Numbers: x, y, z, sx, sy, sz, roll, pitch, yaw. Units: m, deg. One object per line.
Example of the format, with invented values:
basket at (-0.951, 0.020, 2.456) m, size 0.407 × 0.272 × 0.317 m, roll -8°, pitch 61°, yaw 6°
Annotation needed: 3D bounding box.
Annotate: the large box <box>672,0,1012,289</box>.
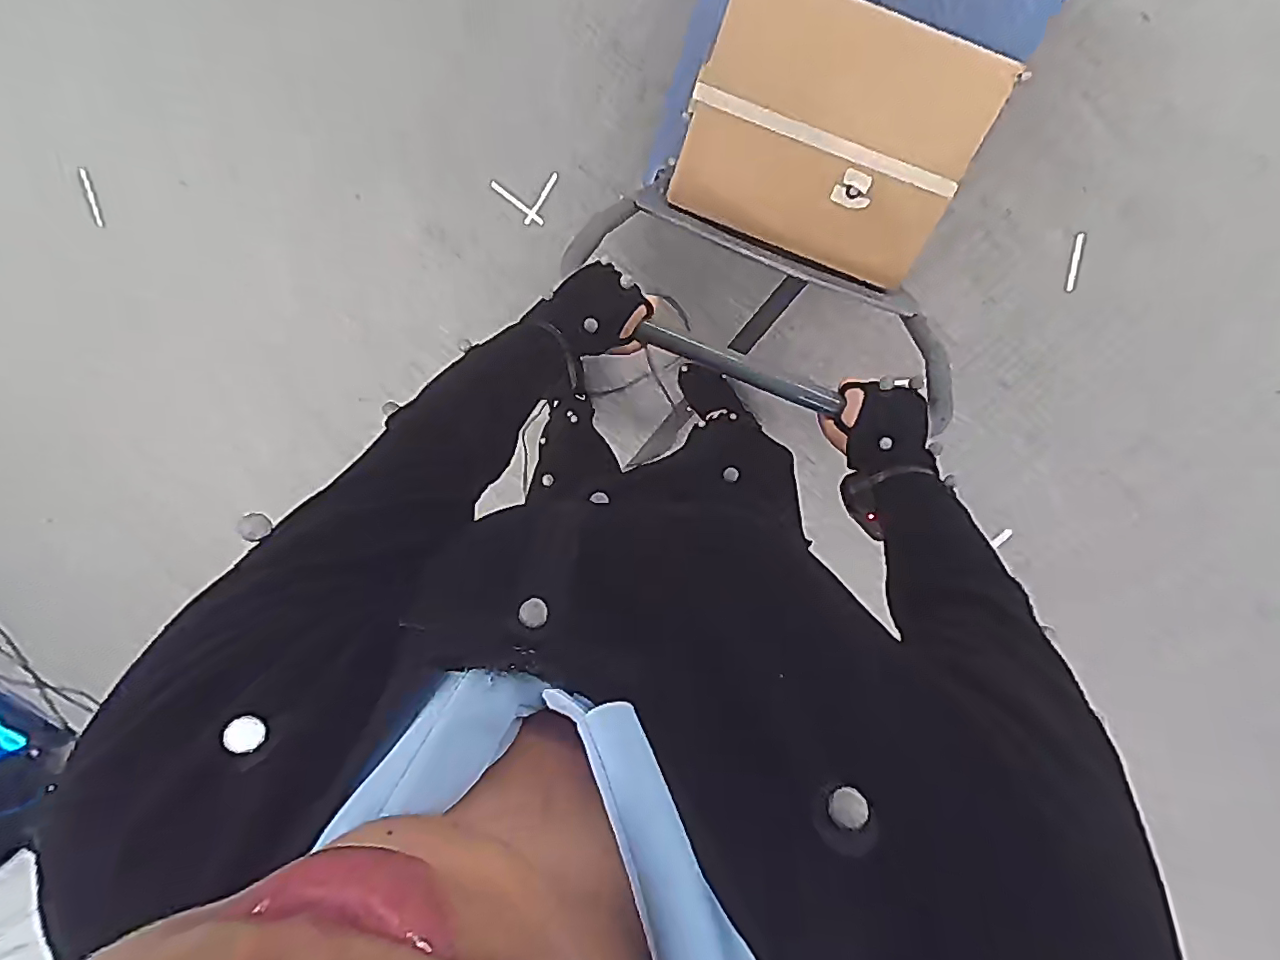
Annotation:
large box at (0.305, -0.578, 0.941) m, size 0.408 × 0.320 × 0.320 m, roll 21°, pitch 123°, yaw -1°
